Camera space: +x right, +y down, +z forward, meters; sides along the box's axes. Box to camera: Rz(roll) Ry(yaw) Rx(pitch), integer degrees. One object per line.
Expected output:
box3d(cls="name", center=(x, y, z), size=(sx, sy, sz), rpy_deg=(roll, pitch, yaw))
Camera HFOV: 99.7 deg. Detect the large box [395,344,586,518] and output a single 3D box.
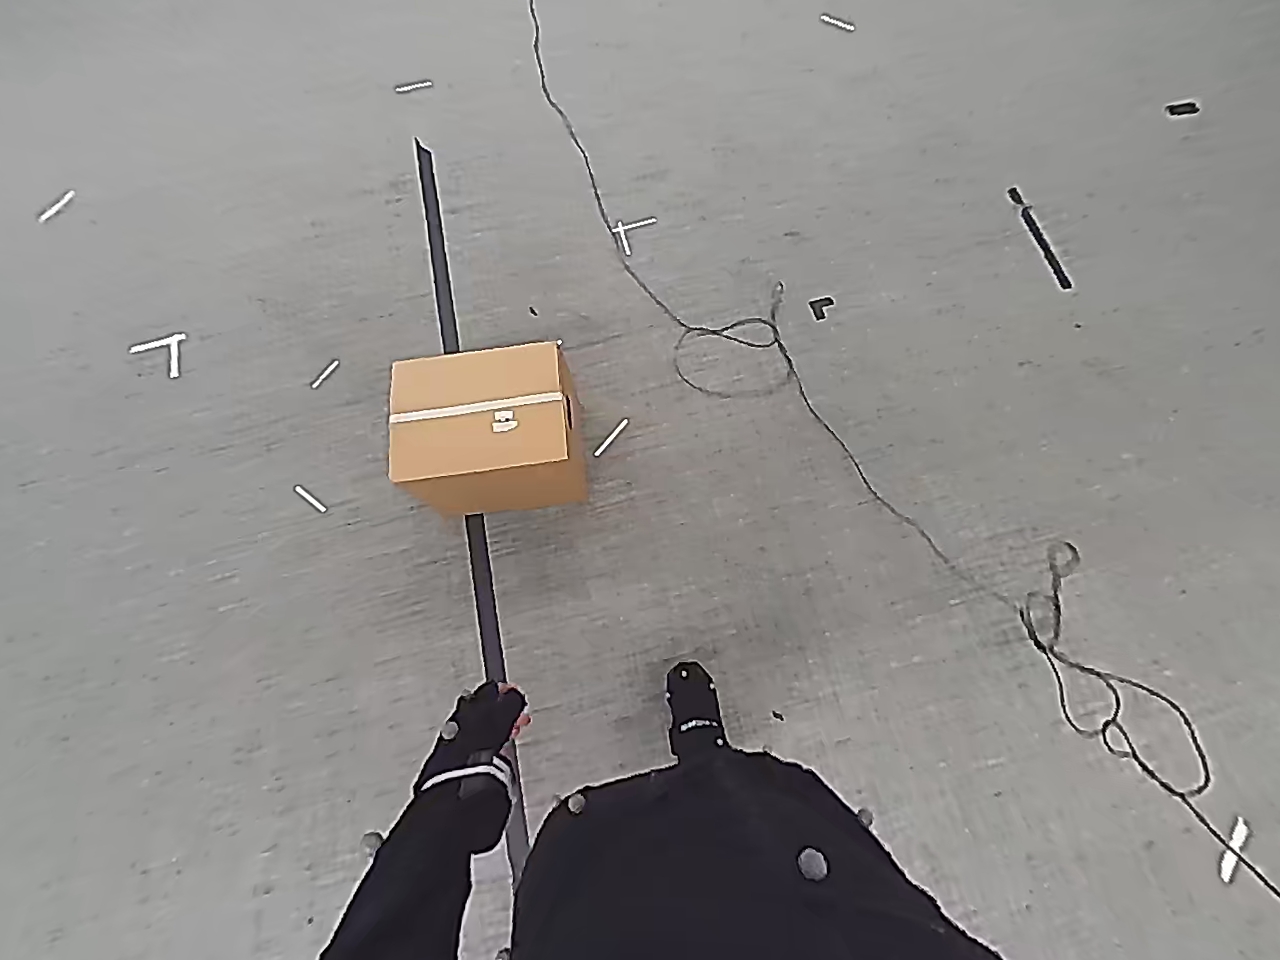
box3d(cls="large box", center=(-0.369, -0.112, 1.402), size=(0.408, 0.320, 0.320), rpy_deg=(-8, 71, 0))
